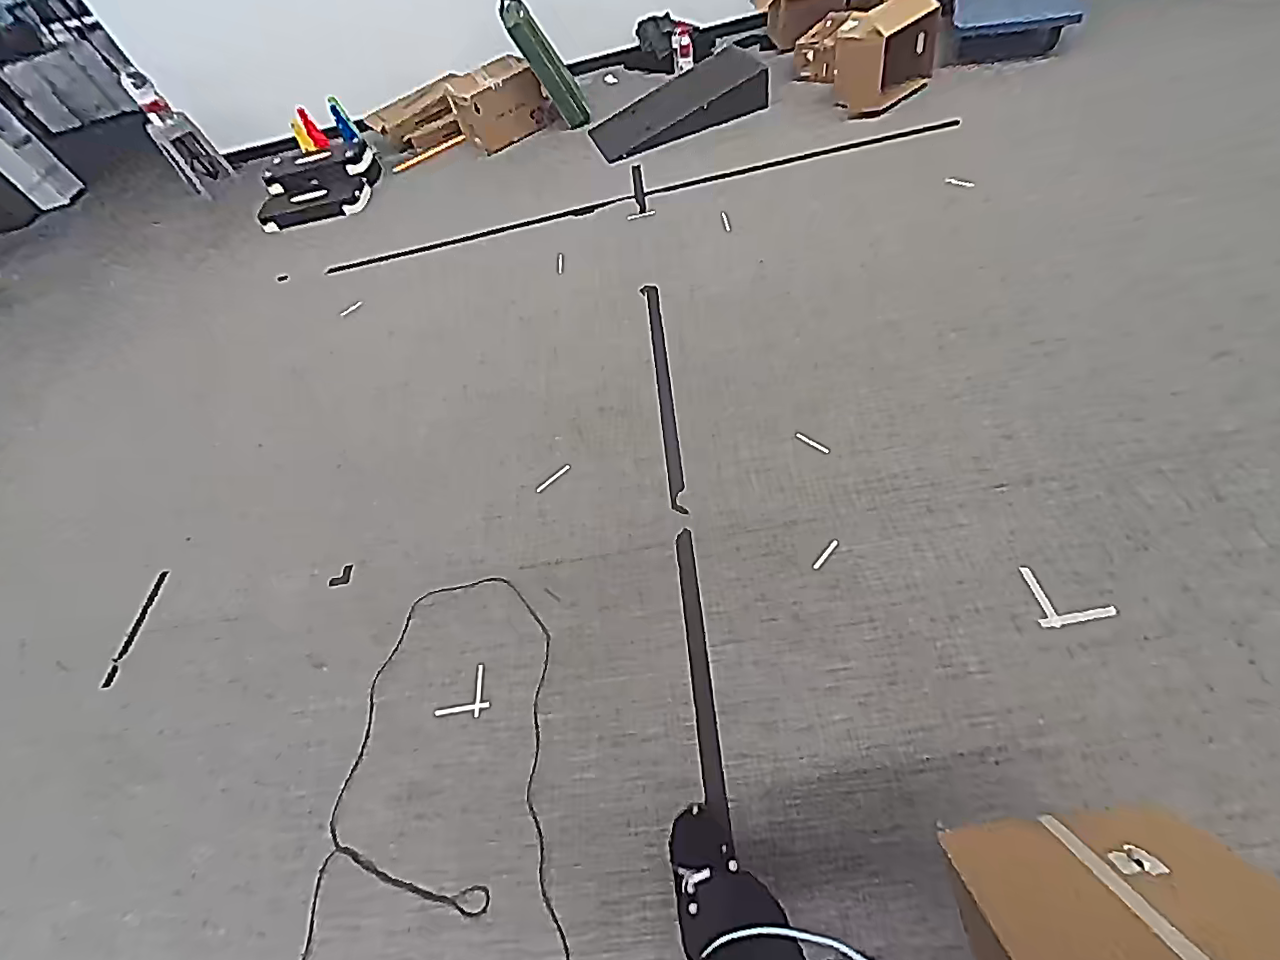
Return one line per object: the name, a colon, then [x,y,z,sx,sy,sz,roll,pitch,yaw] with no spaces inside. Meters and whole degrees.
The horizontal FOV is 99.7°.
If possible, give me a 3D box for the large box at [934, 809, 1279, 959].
large box: [0.599,0.638,0.597,0.320,0.408,0.320,-14,79,9]
